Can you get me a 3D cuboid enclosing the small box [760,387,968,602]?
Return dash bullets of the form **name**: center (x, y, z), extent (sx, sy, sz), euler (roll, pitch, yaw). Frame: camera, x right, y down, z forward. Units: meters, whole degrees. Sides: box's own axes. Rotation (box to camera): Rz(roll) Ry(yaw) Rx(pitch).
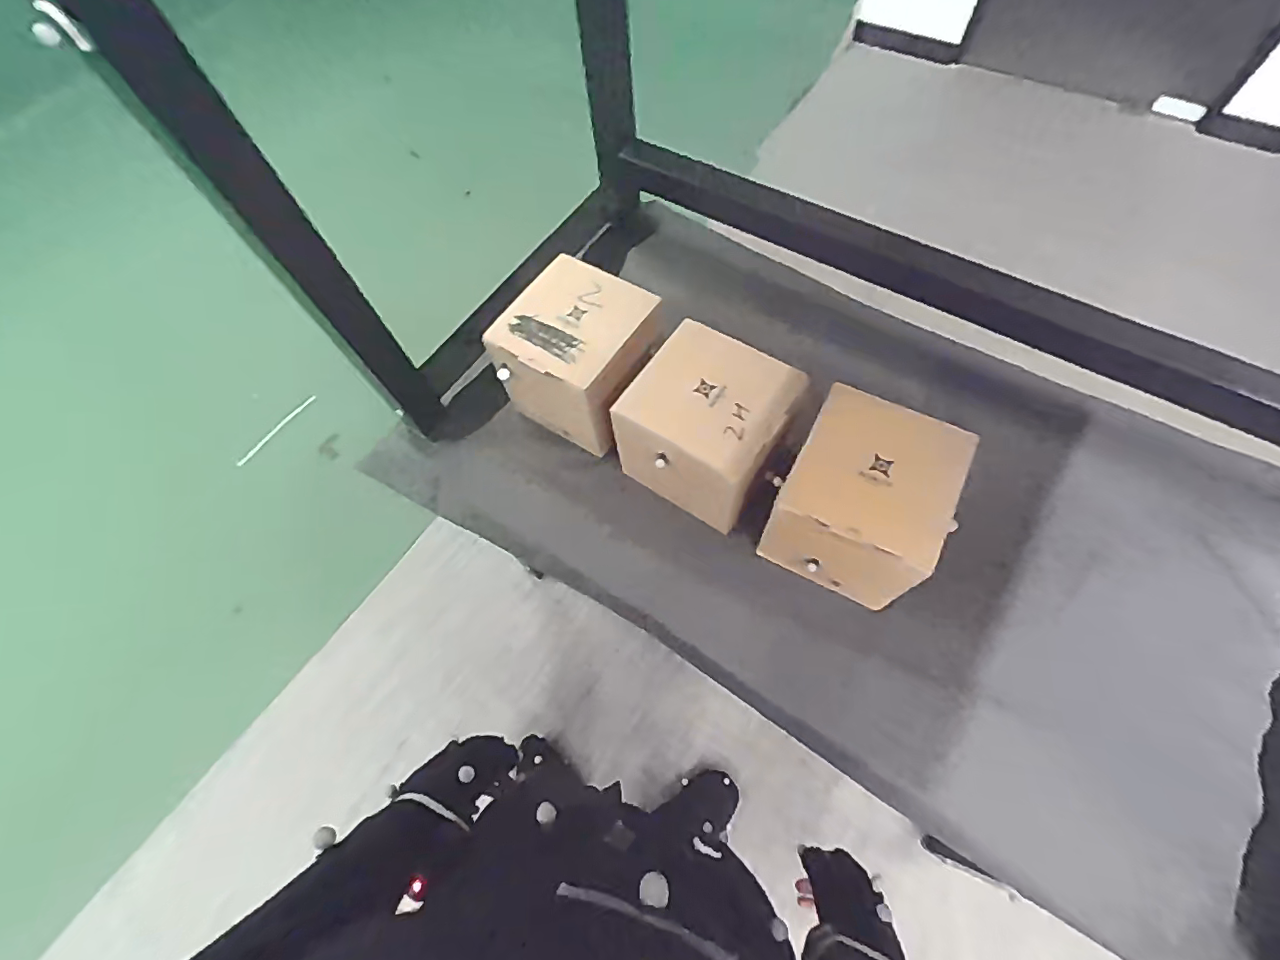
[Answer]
- **small box**: center (0.260, 0.024, 0.665), extent (0.168, 0.176, 0.179), euler (25, 69, 15)
